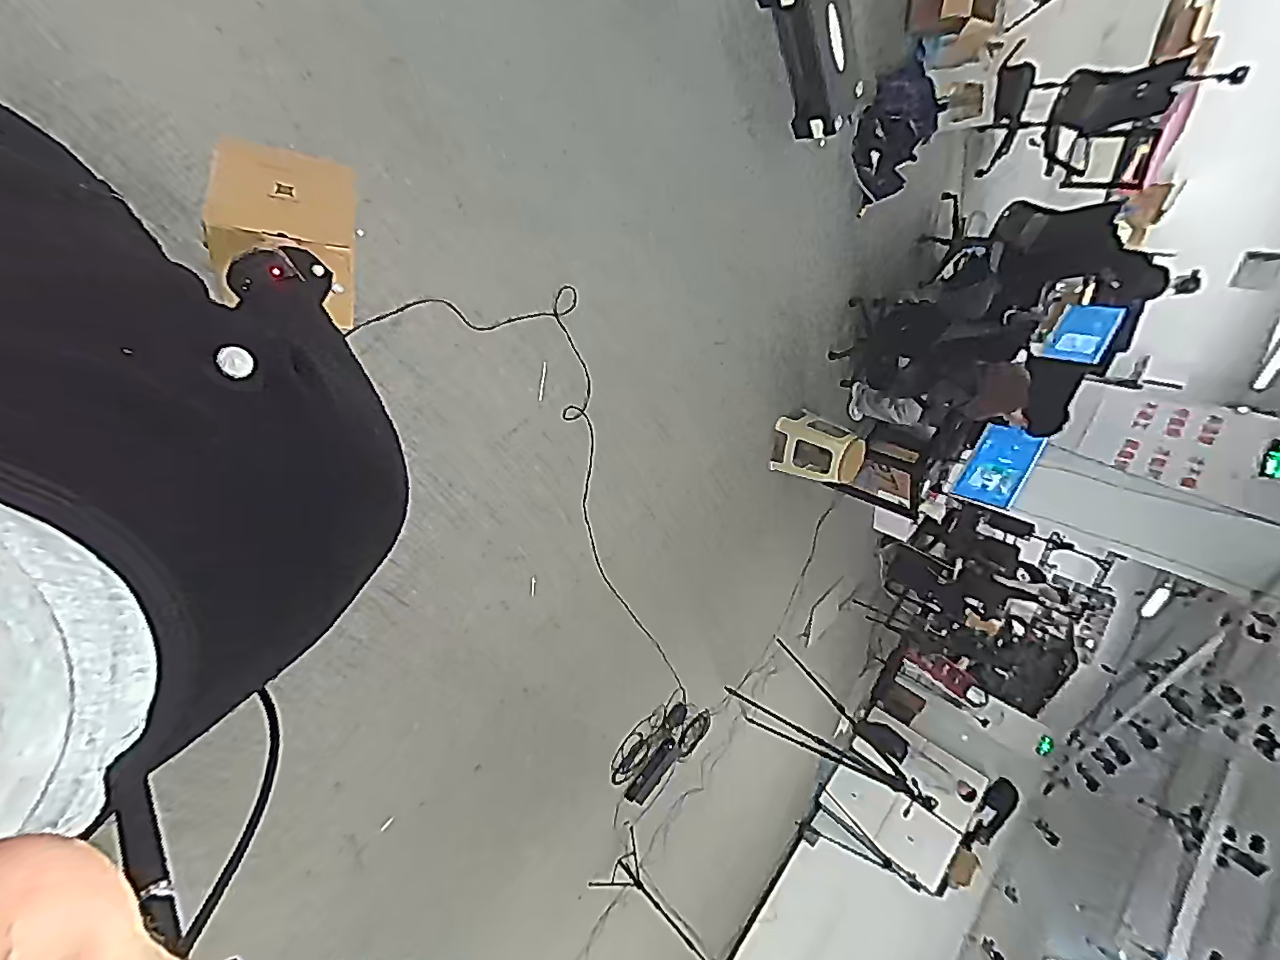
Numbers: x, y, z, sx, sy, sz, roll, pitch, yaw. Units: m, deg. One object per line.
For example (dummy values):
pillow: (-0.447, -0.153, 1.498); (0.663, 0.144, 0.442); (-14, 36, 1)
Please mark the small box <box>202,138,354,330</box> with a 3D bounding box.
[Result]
small box: (-0.518, -0.348, 0.797); (0.168, 0.179, 0.176); (1, 151, -30)
